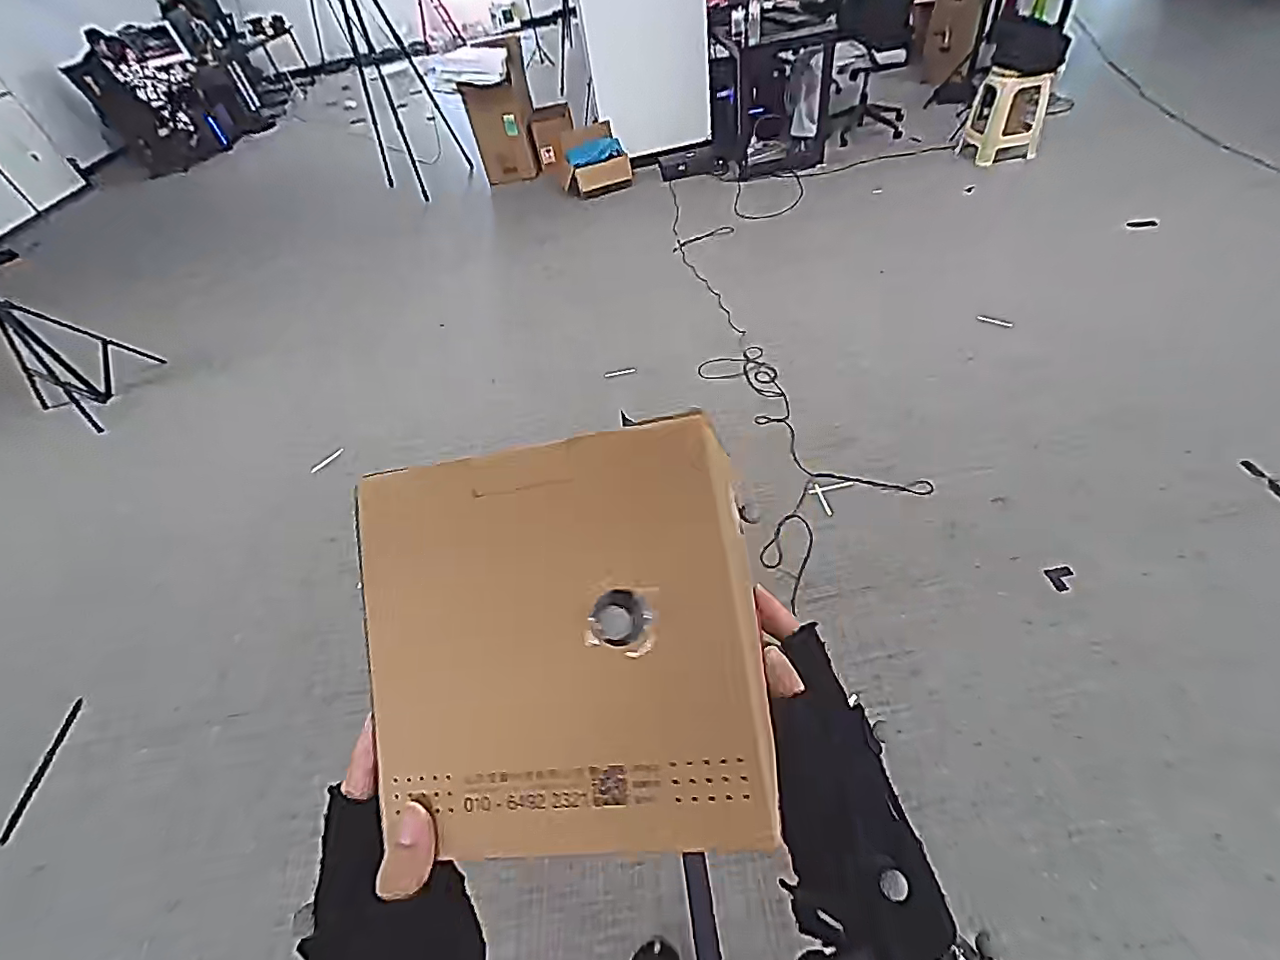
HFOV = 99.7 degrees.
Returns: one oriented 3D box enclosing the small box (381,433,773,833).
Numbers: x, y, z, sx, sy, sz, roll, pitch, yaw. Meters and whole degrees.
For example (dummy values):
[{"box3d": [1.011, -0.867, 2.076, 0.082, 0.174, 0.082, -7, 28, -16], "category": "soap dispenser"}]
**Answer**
[{"box3d": [-0.019, 0.083, 0.323, 0.168, 0.179, 0.176, -11, 82, 14], "category": "small box"}]
